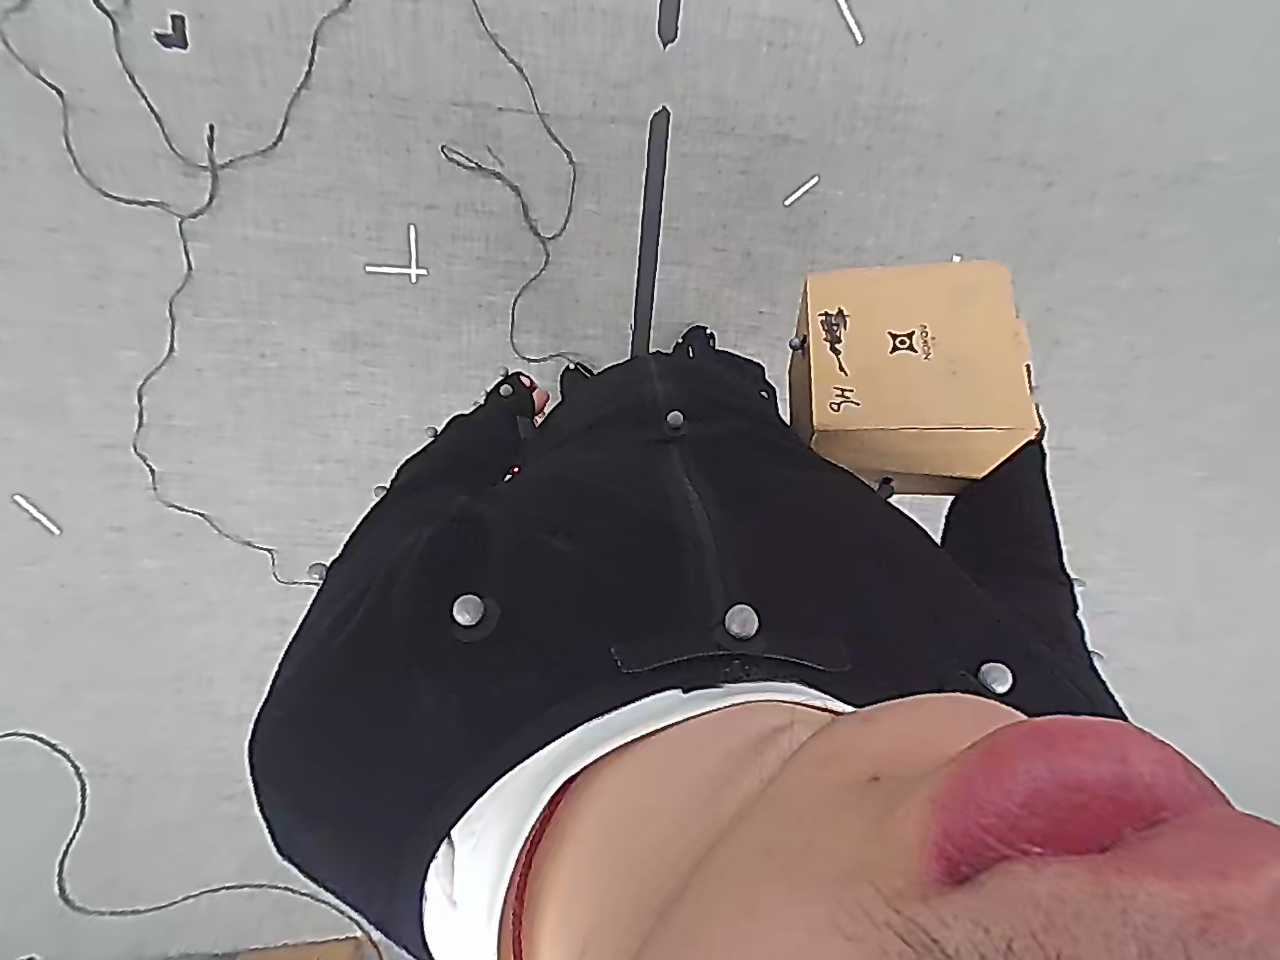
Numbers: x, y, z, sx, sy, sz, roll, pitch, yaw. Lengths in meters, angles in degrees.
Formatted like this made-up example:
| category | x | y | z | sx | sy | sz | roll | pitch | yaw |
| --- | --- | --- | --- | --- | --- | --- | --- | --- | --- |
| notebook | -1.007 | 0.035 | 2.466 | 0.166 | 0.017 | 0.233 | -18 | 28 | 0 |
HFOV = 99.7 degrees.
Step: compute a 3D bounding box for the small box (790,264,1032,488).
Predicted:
| category | x | y | z | sx | sy | sz | roll | pitch | yaw |
| --- | --- | --- | --- | --- | --- | --- | --- | --- | --- |
| small box | 0.255 | -0.096 | 0.557 | 0.179 | 0.176 | 0.168 | 1 | 70 | 9 |
